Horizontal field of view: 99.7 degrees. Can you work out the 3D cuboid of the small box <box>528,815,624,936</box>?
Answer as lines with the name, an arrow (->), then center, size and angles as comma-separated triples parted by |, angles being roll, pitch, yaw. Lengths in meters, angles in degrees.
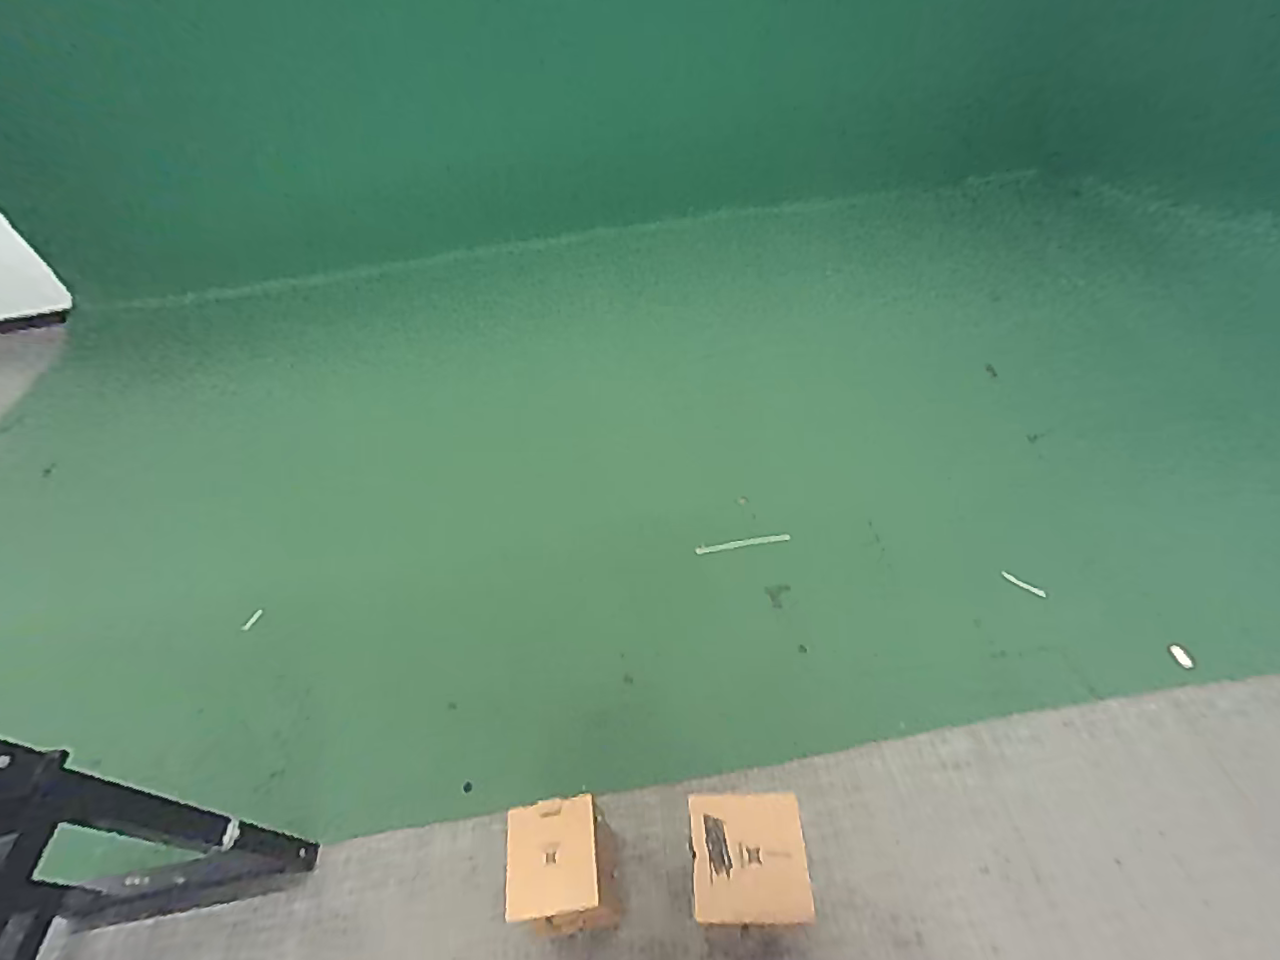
small box -> -0.134, 0.842, 1.150 | 0.168, 0.176, 0.179 | -11, 49, -3

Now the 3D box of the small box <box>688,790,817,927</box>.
small box -> 0.172, 0.612, 0.873 | 0.179, 0.176, 0.168 | -3, 49, 4
